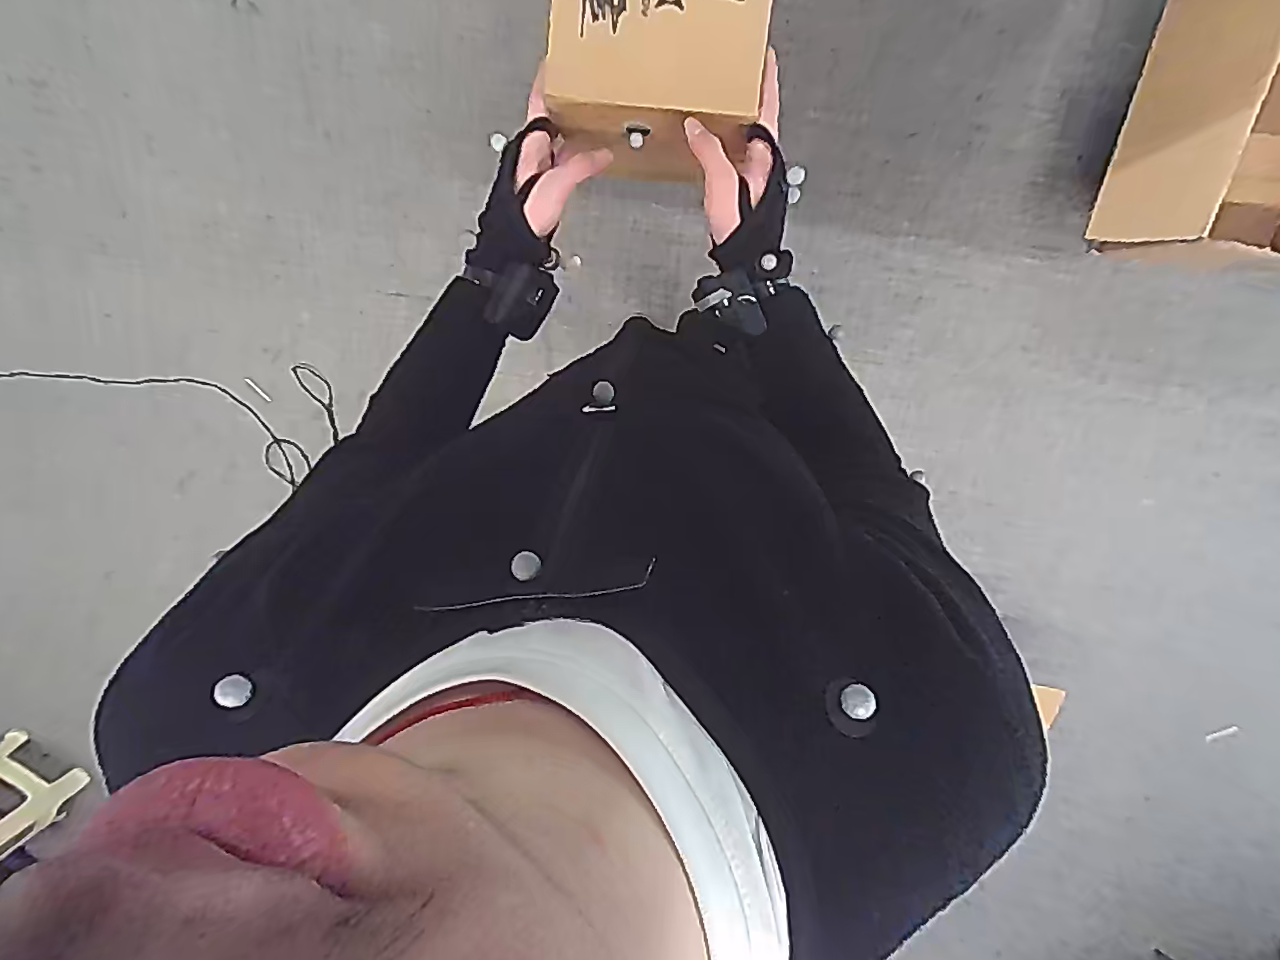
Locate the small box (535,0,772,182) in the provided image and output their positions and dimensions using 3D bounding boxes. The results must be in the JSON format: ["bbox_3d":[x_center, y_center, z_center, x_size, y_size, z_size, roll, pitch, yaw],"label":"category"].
[{"bbox_3d":[0.021,-0.391,0.490,0.179,0.176,0.168,10,104,2],"label":"small box"}]
